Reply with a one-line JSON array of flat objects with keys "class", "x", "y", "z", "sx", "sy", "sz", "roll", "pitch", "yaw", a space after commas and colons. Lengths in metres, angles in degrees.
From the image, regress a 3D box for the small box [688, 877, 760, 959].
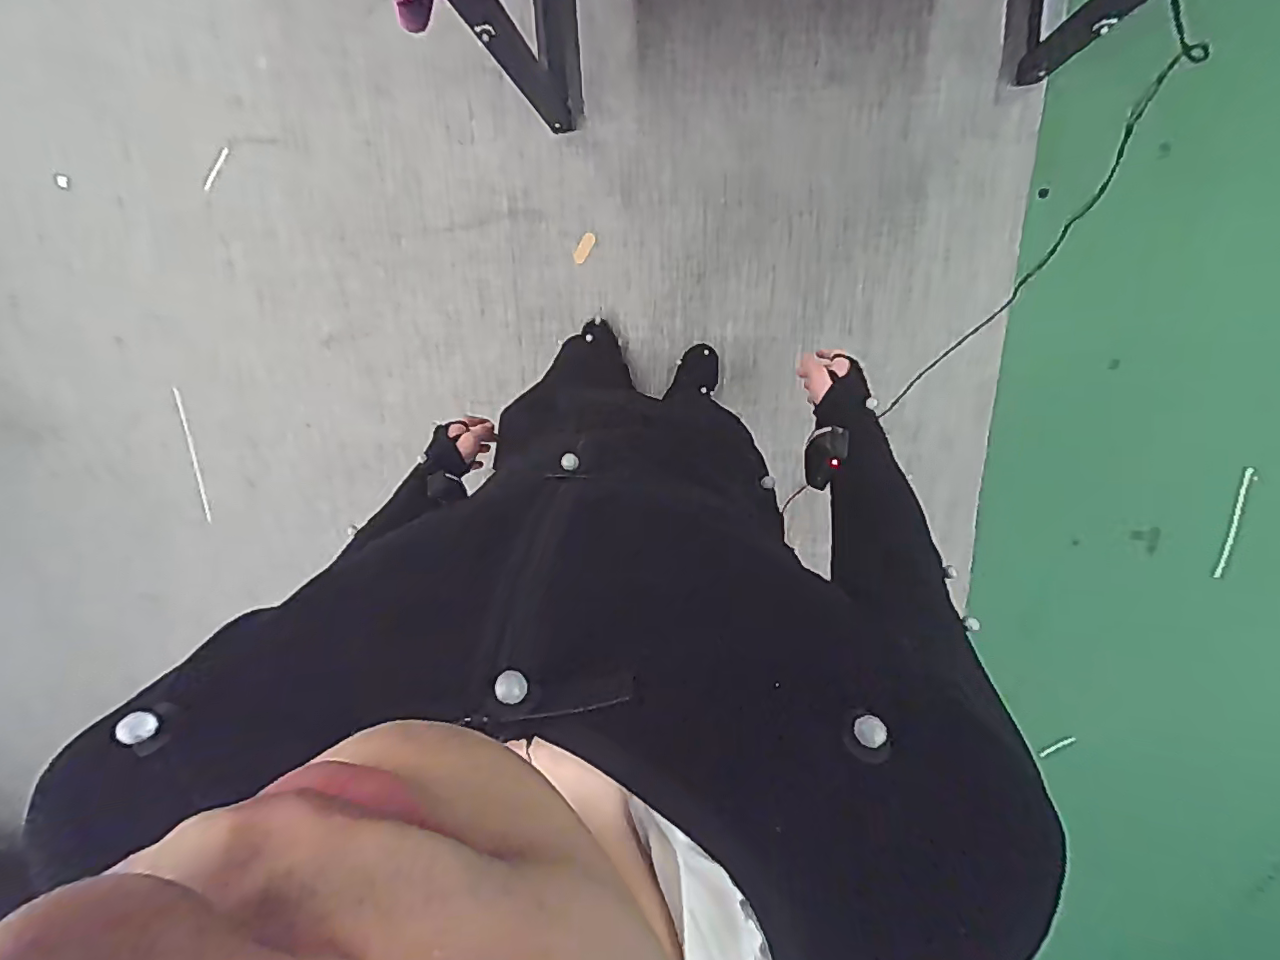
[{"class": "small box", "x": 0.238, "y": 1.286, "z": 1.549, "sx": 0.179, "sy": 0.176, "sz": 0.168, "roll": 8, "pitch": 106, "yaw": 6}]
